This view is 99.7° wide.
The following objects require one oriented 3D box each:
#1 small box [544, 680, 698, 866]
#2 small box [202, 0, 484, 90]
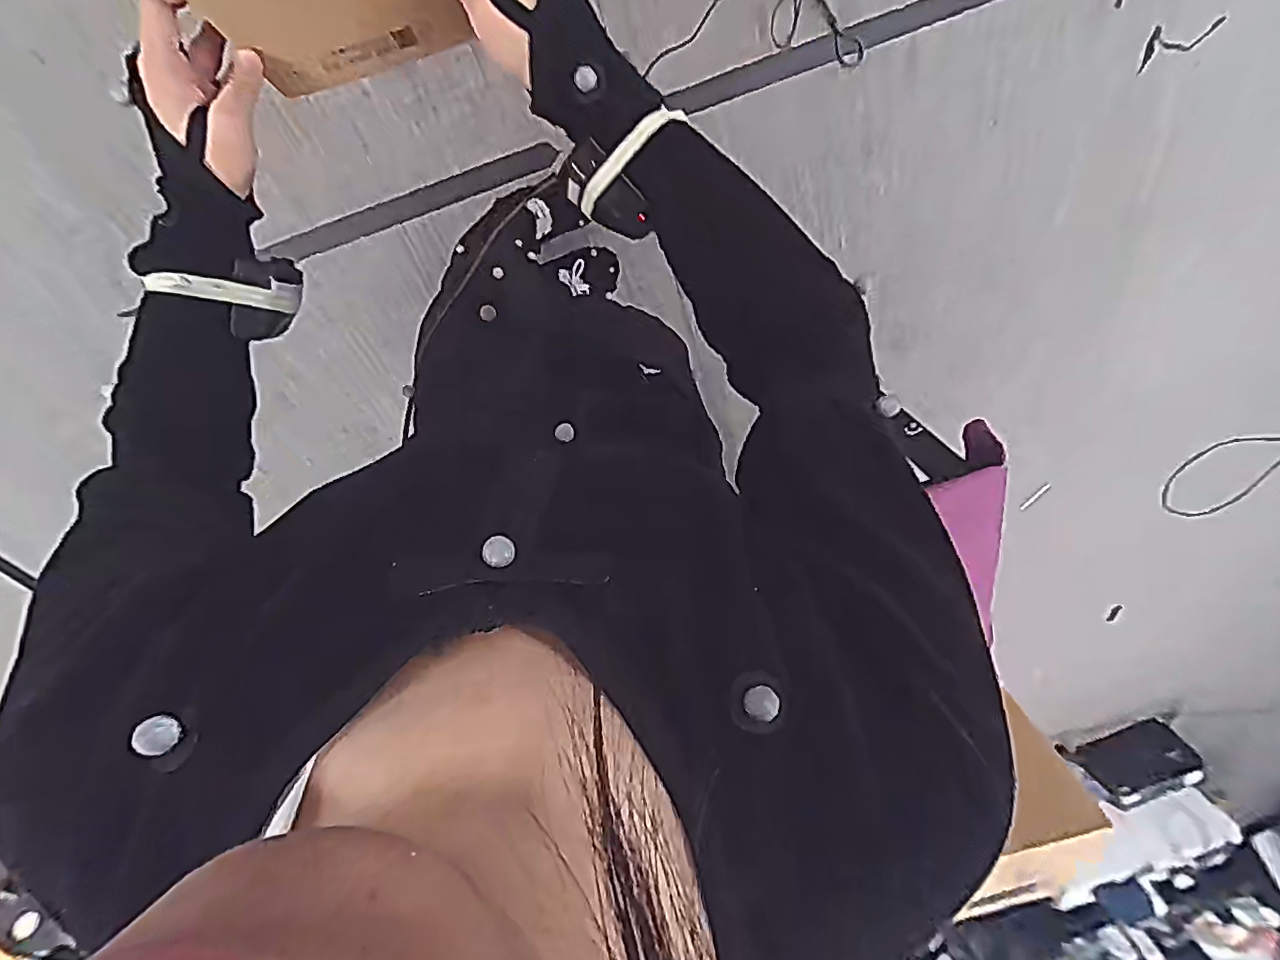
[{"bbox_3d":[-0.032,0.418,0.793,0.168,0.176,0.179,-21,126,2],"label":"small box"},{"bbox_3d":[-0.212,-0.385,0.314,0.168,0.176,0.179,-16,90,3],"label":"small box"}]
